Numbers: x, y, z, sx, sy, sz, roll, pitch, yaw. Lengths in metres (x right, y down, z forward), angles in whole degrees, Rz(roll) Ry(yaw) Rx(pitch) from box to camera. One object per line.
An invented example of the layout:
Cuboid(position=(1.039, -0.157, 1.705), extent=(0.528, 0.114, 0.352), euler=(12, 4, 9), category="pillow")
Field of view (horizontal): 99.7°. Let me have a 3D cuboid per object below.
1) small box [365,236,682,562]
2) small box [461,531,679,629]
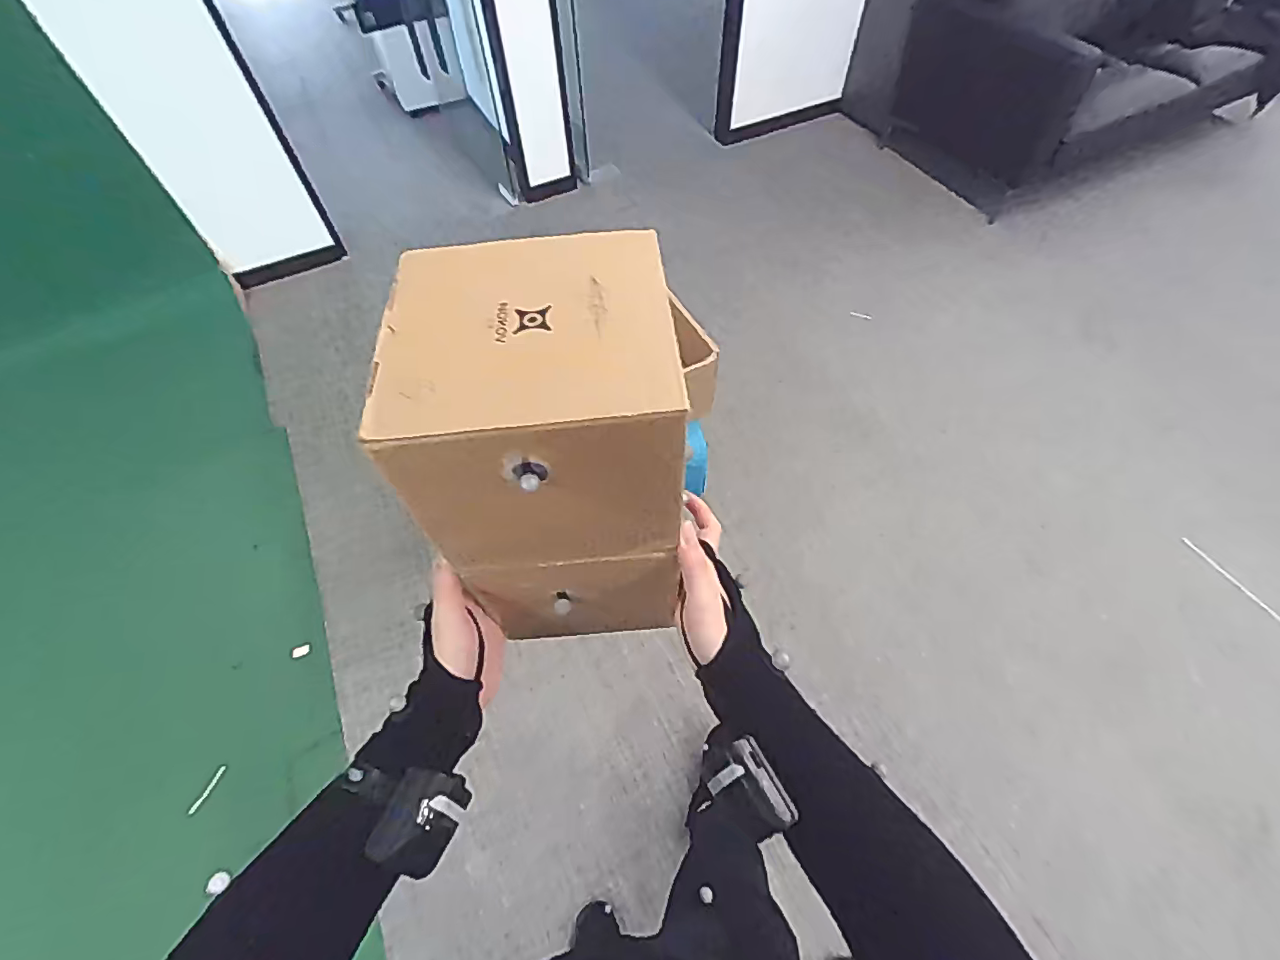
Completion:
Cuboid(position=(-0.063, -0.050, 0.398), extent=(0.179, 0.176, 0.168), euler=(-5, 57, 0), category="small box")
Cuboid(position=(-0.053, 0.039, 0.532), extent=(0.179, 0.176, 0.168), euler=(-3, 54, 0), category="small box")
